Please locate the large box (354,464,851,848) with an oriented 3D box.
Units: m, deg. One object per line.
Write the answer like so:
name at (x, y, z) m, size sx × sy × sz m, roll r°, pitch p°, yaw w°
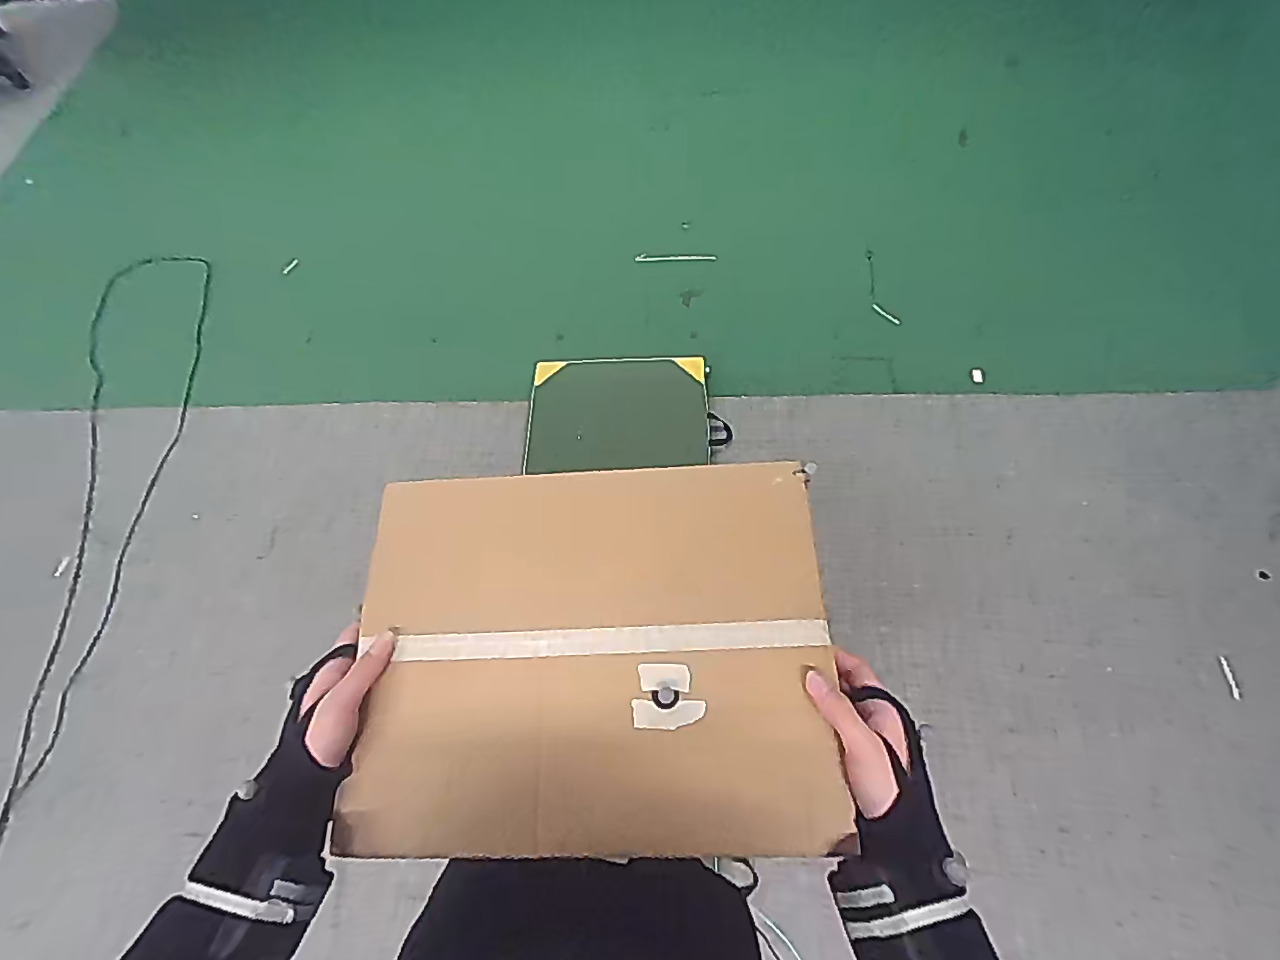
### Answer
large box at (-0.031, 0.195, 0.617) m, size 0.408 × 0.320 × 0.320 m, roll -3°, pitch 68°, yaw 3°
